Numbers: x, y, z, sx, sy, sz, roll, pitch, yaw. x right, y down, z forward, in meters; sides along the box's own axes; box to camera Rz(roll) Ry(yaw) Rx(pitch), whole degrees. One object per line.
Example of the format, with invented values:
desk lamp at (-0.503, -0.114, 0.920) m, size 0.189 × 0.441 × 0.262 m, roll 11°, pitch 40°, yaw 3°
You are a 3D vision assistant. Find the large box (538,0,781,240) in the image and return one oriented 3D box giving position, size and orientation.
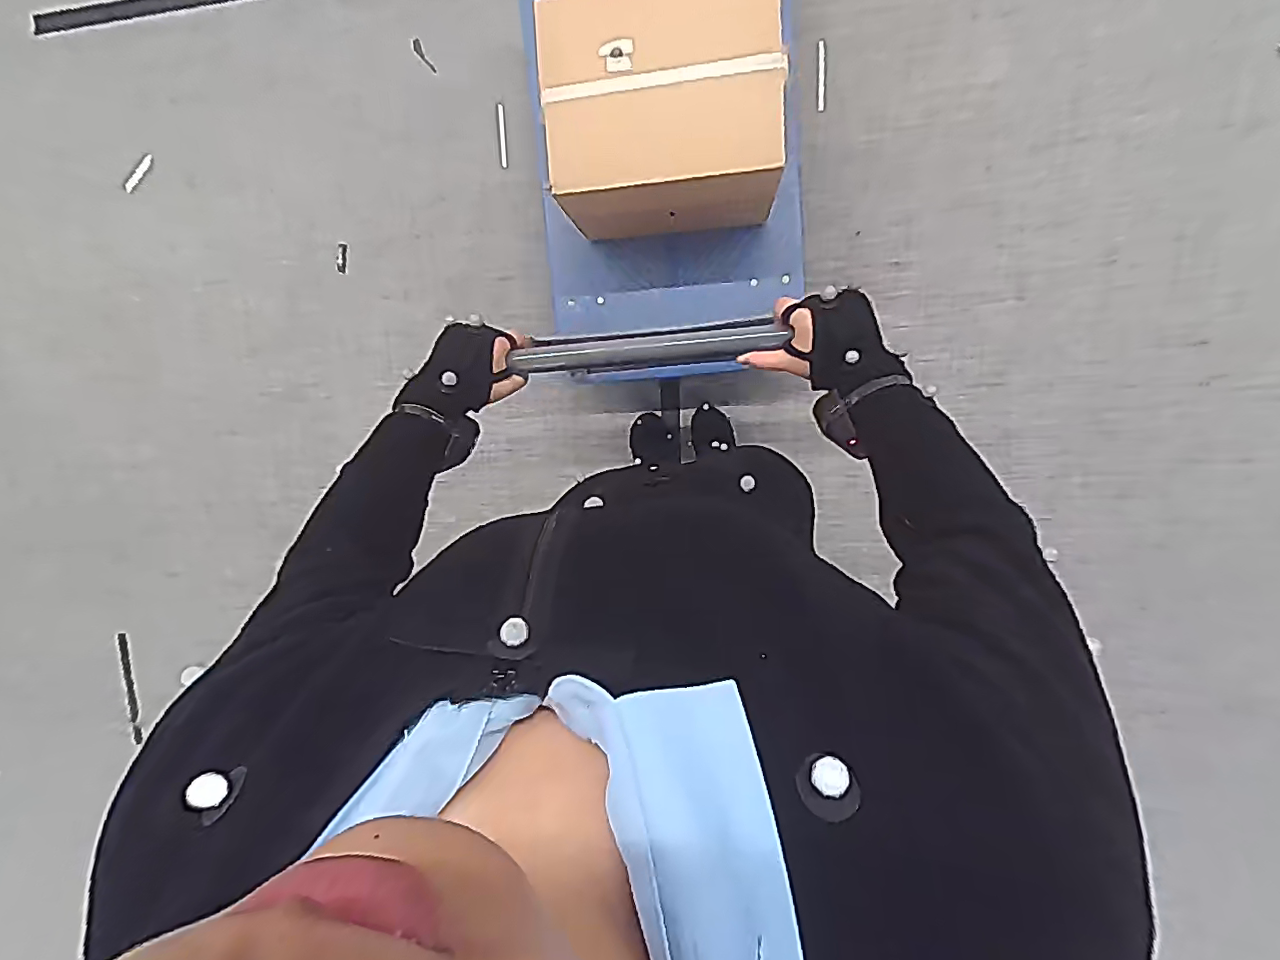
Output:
large box at (0.053, -0.692, 1.068) m, size 0.408 × 0.320 × 0.320 m, roll -3°, pitch 98°, yaw 9°
